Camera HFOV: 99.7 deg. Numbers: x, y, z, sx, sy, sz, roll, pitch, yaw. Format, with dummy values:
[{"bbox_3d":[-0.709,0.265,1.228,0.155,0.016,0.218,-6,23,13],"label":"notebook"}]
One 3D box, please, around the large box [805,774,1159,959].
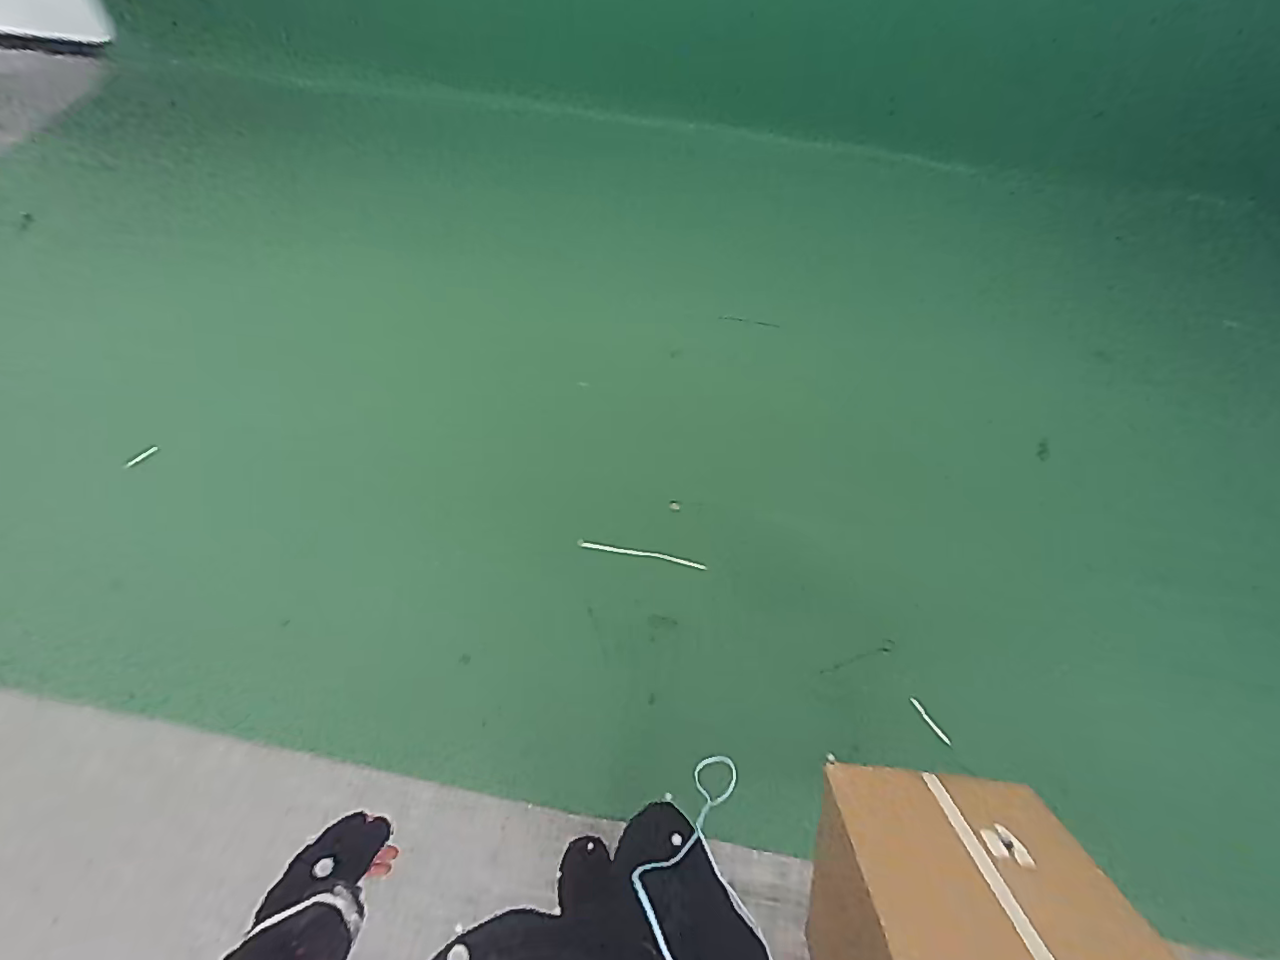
[{"bbox_3d":[0.416,0.657,0.684,0.320,0.408,0.320,5,97,5],"label":"large box"}]
